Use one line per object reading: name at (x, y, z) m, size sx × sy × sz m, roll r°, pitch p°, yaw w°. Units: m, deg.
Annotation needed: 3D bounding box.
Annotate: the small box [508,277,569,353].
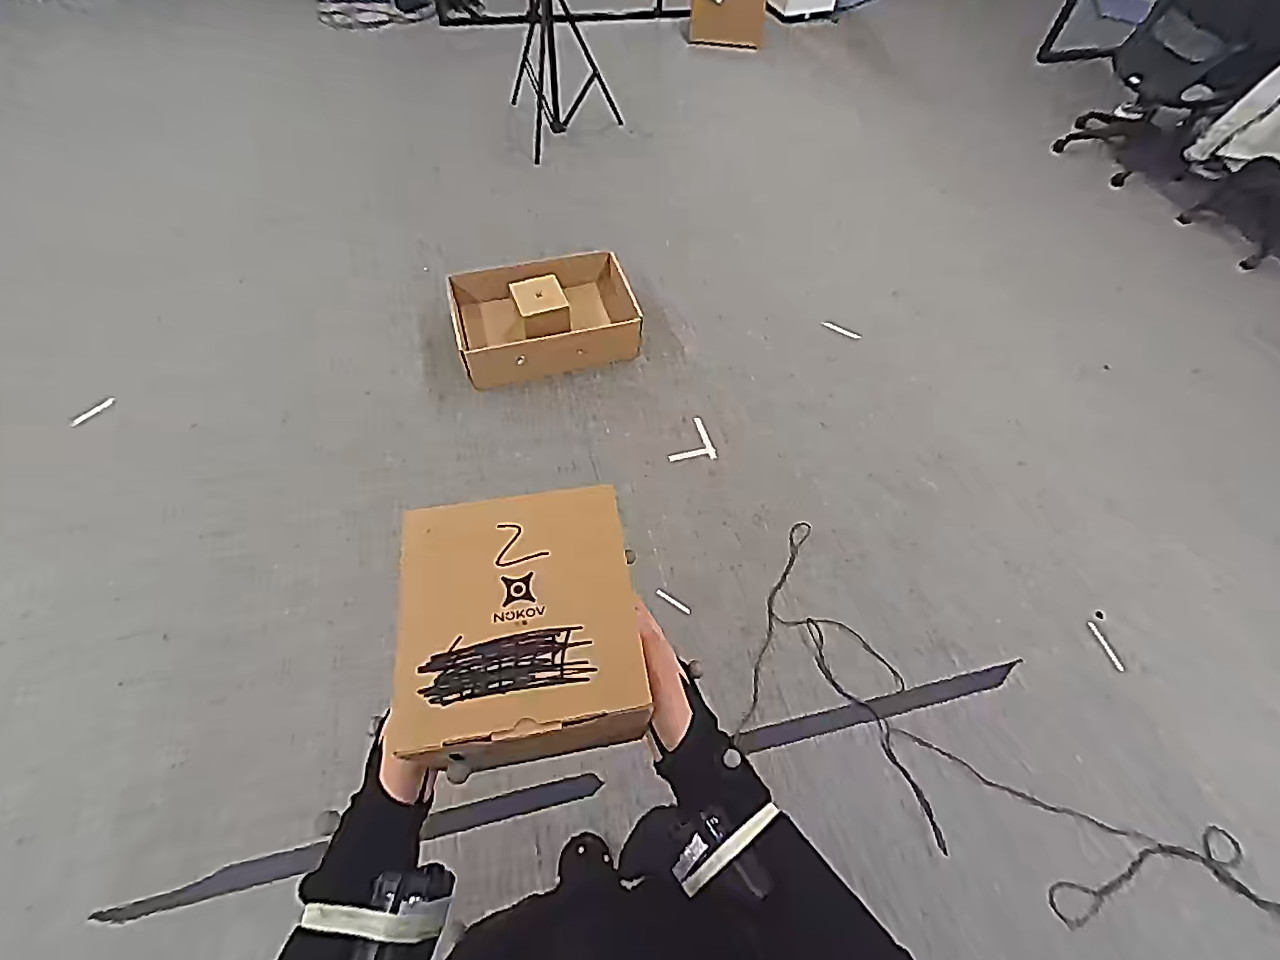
small box at (-0.356, -0.579, 1.910) m, size 0.168 × 0.176 × 0.179 m, roll -19°, pitch 62°, yaw -14°
